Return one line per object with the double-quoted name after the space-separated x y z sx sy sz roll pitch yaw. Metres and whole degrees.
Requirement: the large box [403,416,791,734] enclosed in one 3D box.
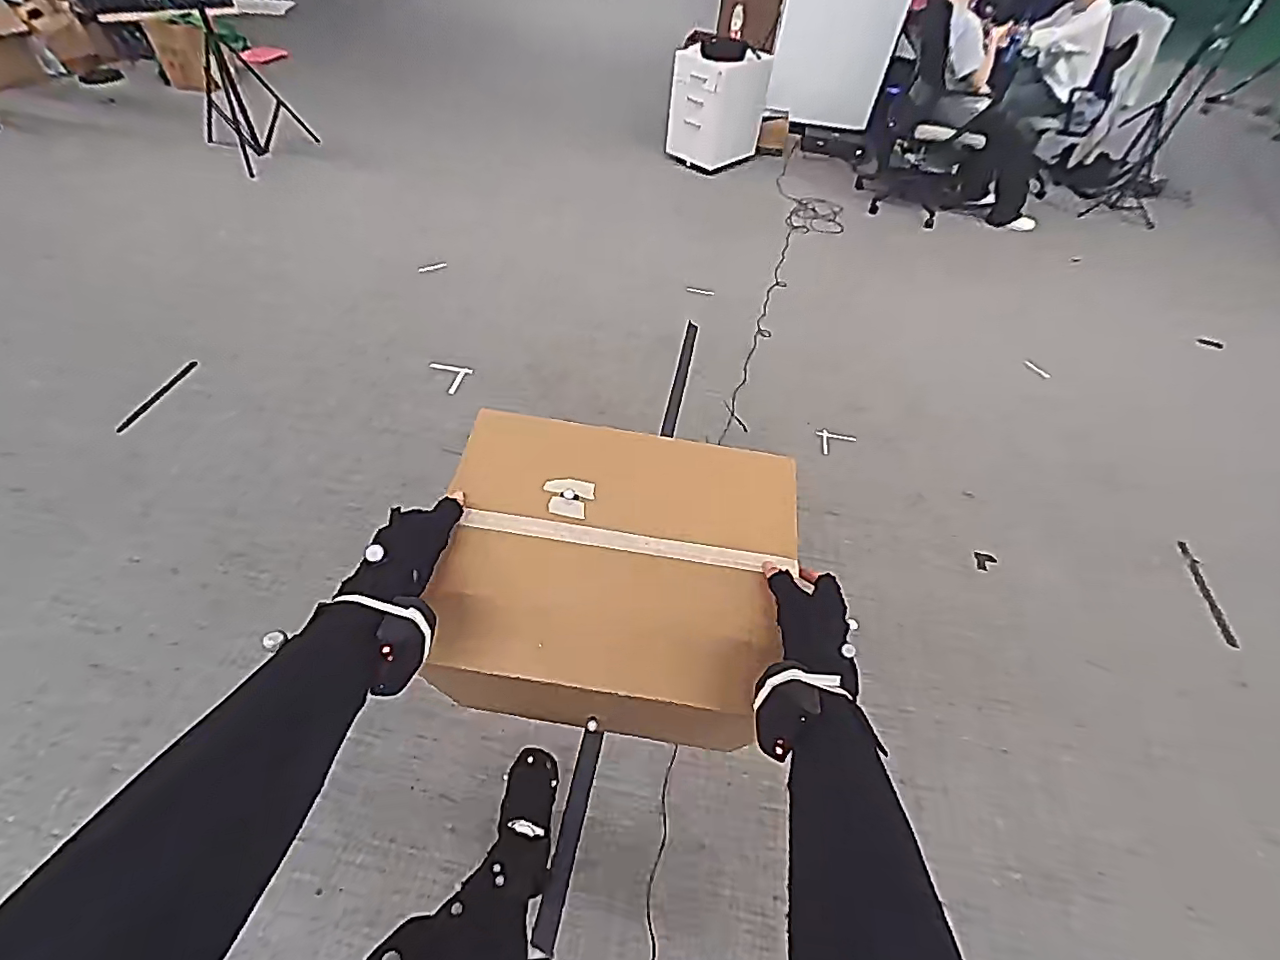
-0.034 0.148 0.747 0.408 0.320 0.320 9 58 1 "large box"
